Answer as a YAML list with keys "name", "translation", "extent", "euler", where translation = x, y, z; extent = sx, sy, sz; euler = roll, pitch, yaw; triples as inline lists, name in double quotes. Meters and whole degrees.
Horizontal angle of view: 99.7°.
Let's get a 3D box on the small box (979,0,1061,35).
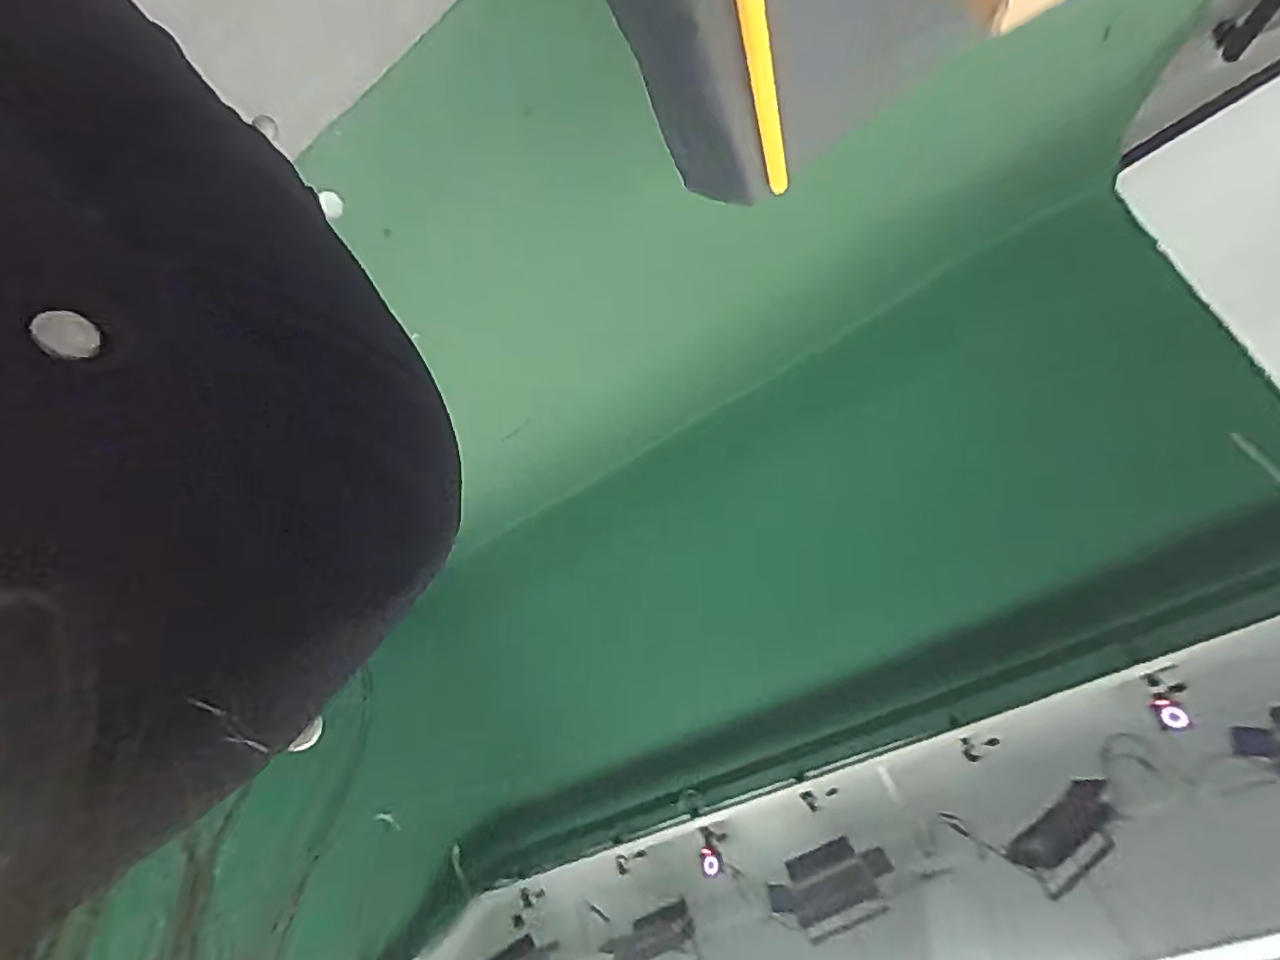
- name: "small box"
  translation: [0.341, -0.524, 0.422]
  extent: [0.179, 0.176, 0.168]
  euler: [-30, 167, 7]
